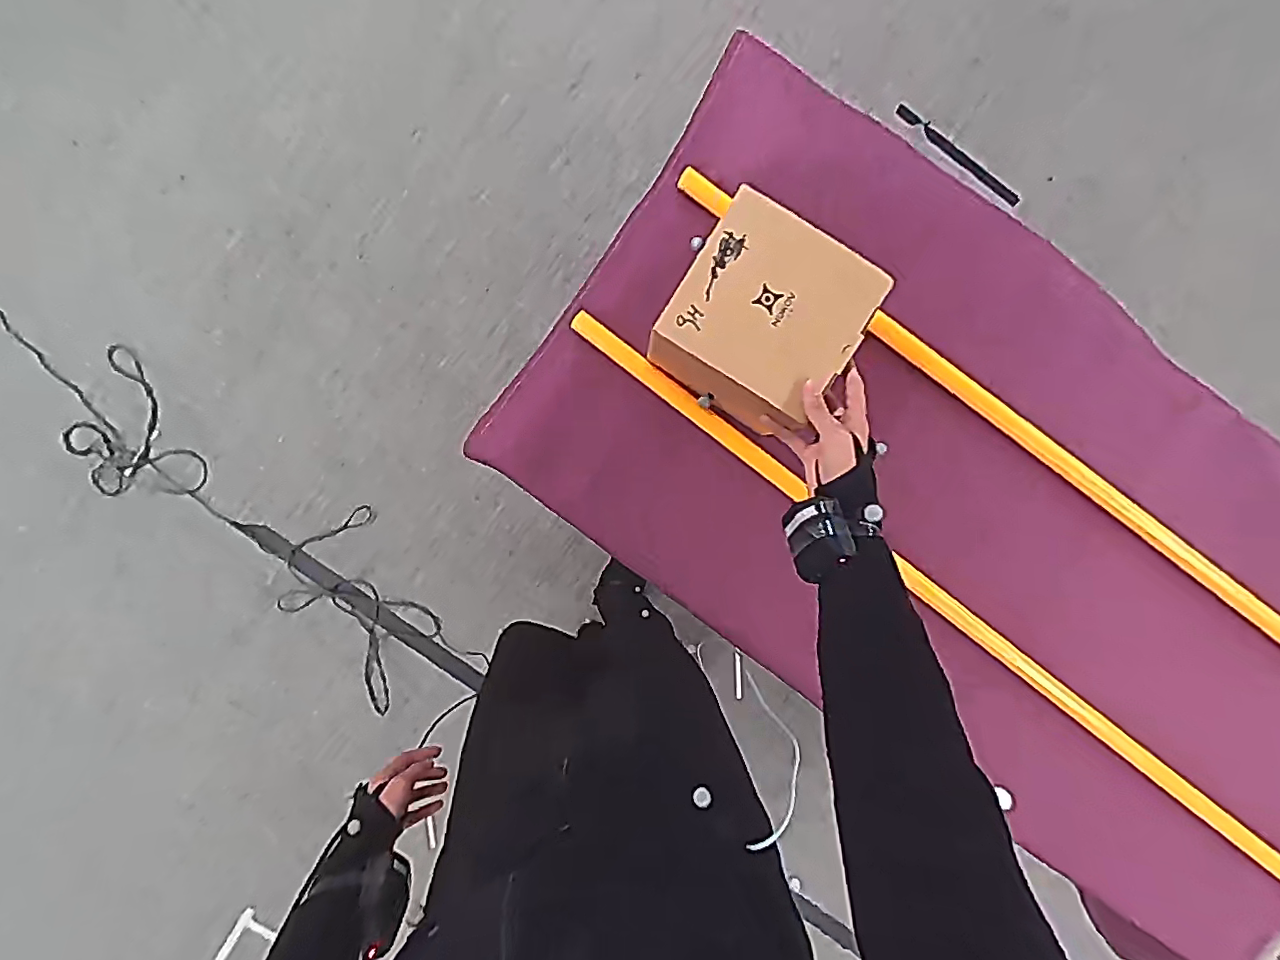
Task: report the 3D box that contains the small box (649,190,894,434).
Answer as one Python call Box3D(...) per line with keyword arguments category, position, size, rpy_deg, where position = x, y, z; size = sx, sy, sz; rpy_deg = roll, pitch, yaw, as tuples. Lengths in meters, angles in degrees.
Box3D(category="small box", position=(0.125, -0.163, 0.590), size=(0.179, 0.176, 0.168), rpy_deg=(33, 91, -2))
